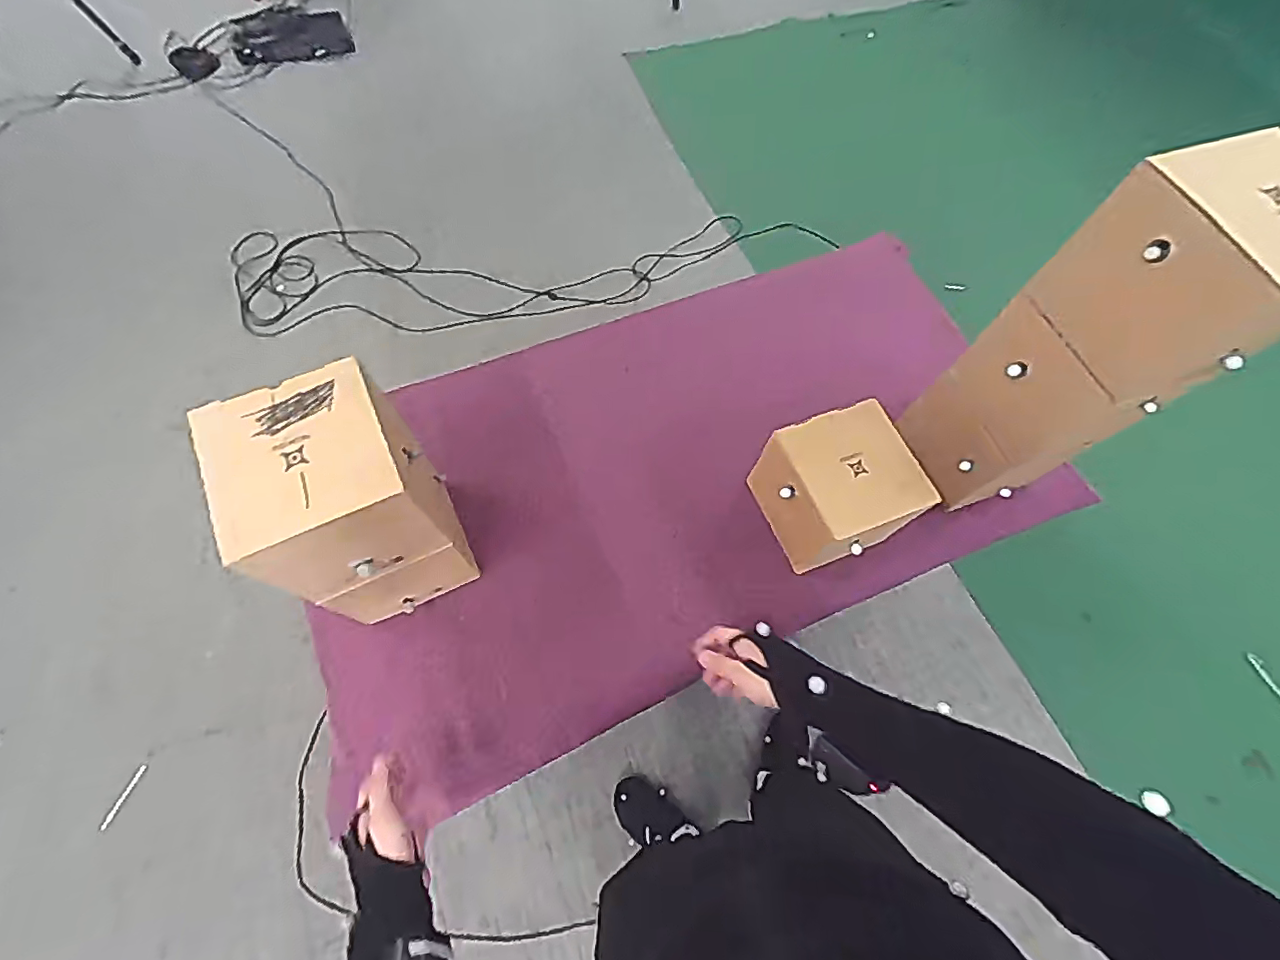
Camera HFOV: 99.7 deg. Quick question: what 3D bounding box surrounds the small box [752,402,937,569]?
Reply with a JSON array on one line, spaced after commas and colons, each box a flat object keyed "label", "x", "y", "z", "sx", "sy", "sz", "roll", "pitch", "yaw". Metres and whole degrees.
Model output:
[{"label": "small box", "x": 0.287, "y": 0.019, "z": 0.804, "sx": 0.168, "sy": 0.176, "sz": 0.179, "roll": -19, "pitch": 66, "yaw": -11}]

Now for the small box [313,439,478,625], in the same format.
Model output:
[{"label": "small box", "x": -0.343, "y": 0.078, "z": 0.745, "sx": 0.168, "sy": 0.176, "sz": 0.179, "roll": -24, "pitch": 70, "yaw": -13}]

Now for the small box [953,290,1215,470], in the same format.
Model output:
[{"label": "small box", "x": 0.558, "y": -0.140, "z": 0.706, "sx": 0.168, "sy": 0.176, "sz": 0.179, "roll": -17, "pitch": 67, "yaw": -9}]

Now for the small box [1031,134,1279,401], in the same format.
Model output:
[{"label": "small box", "x": 0.564, "y": -0.210, "z": 0.557, "sx": 0.168, "sy": 0.176, "sz": 0.179, "roll": -17, "pitch": 68, "yaw": -9}]

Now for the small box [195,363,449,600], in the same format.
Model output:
[{"label": "small box", "x": -0.335, "y": 0.010, "z": 0.597, "sx": 0.168, "sy": 0.176, "sz": 0.179, "roll": -24, "pitch": 70, "yaw": -12}]
